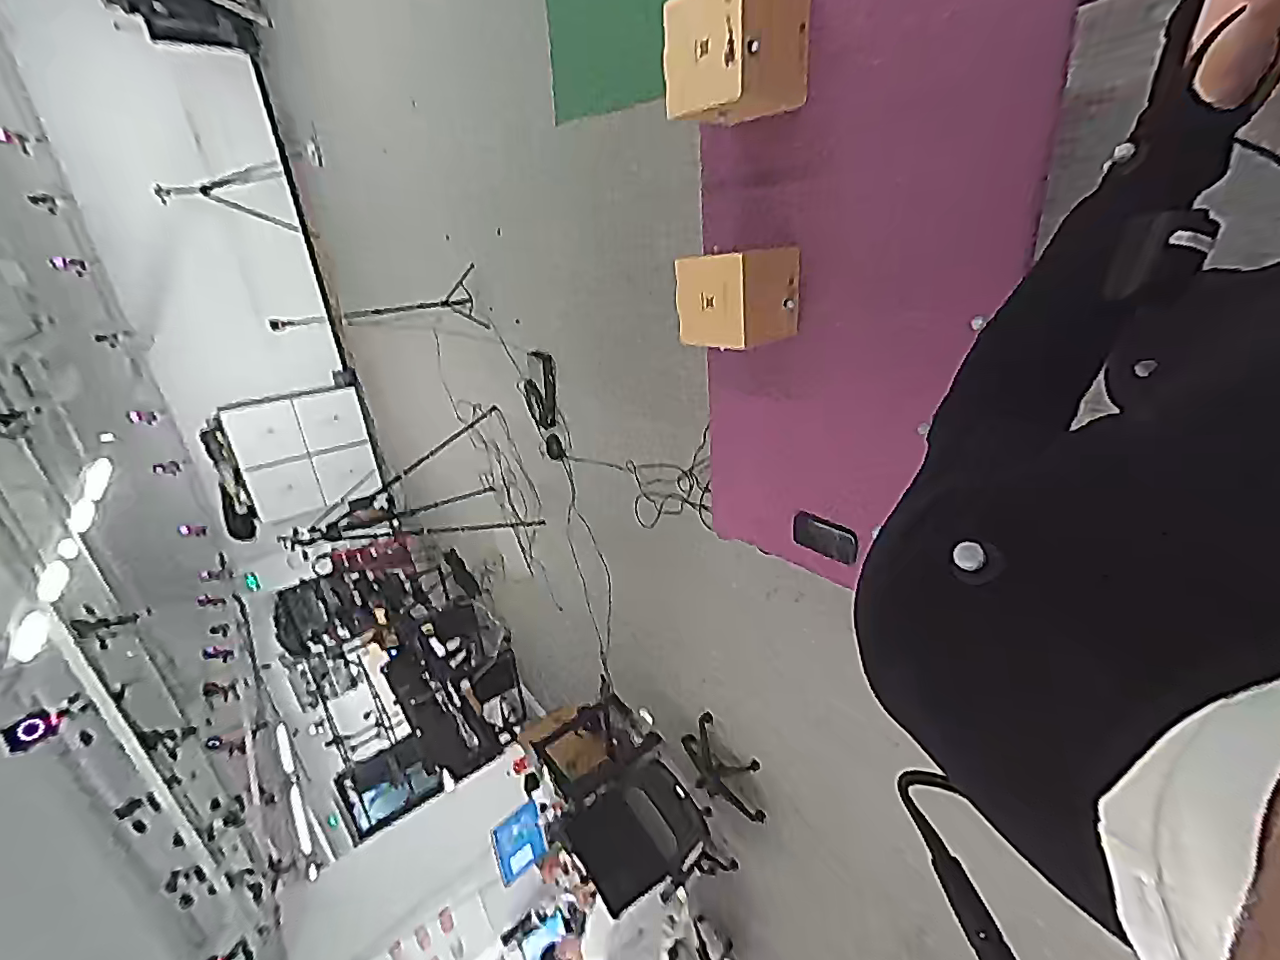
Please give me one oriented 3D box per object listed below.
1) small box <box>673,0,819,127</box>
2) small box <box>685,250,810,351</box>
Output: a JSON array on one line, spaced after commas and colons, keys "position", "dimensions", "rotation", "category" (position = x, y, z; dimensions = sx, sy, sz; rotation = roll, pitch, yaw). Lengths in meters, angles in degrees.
[{"position": [0.177, -0.715, 0.921], "dimensions": [0.179, 0.176, 0.168], "rotation": [25, 128, 48], "category": "small box"}, {"position": [0.212, -0.359, 1.073], "dimensions": [0.179, 0.176, 0.168], "rotation": [22, 126, 49], "category": "small box"}]
